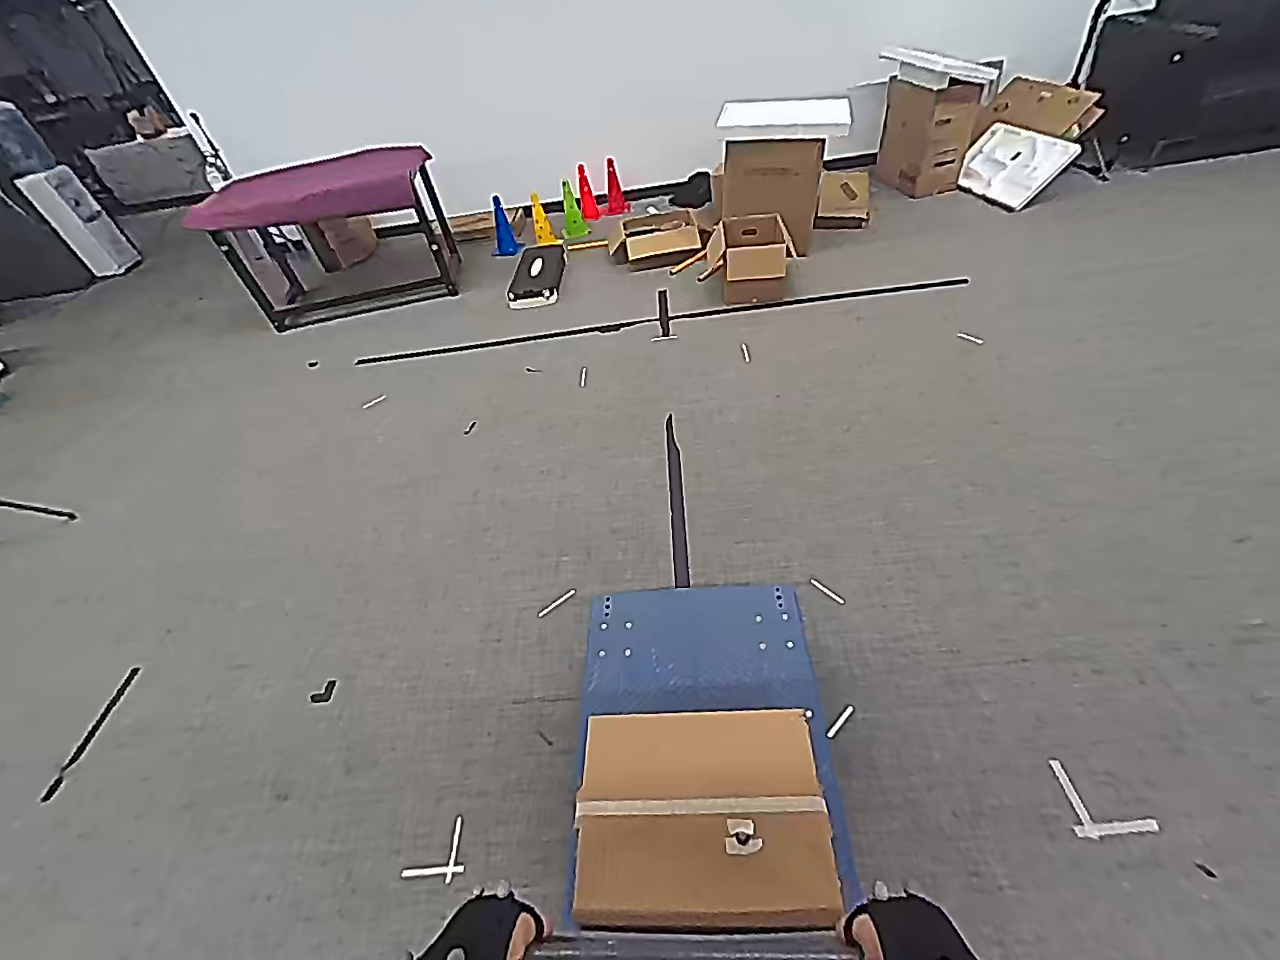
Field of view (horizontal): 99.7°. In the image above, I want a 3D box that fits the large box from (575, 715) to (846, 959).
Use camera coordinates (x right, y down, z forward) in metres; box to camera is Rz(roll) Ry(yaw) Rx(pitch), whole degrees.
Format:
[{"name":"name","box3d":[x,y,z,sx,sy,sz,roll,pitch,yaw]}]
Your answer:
[{"name":"large box","box3d":[0.115,0.656,0.991,0.408,0.320,0.320,-5,45,5]}]
